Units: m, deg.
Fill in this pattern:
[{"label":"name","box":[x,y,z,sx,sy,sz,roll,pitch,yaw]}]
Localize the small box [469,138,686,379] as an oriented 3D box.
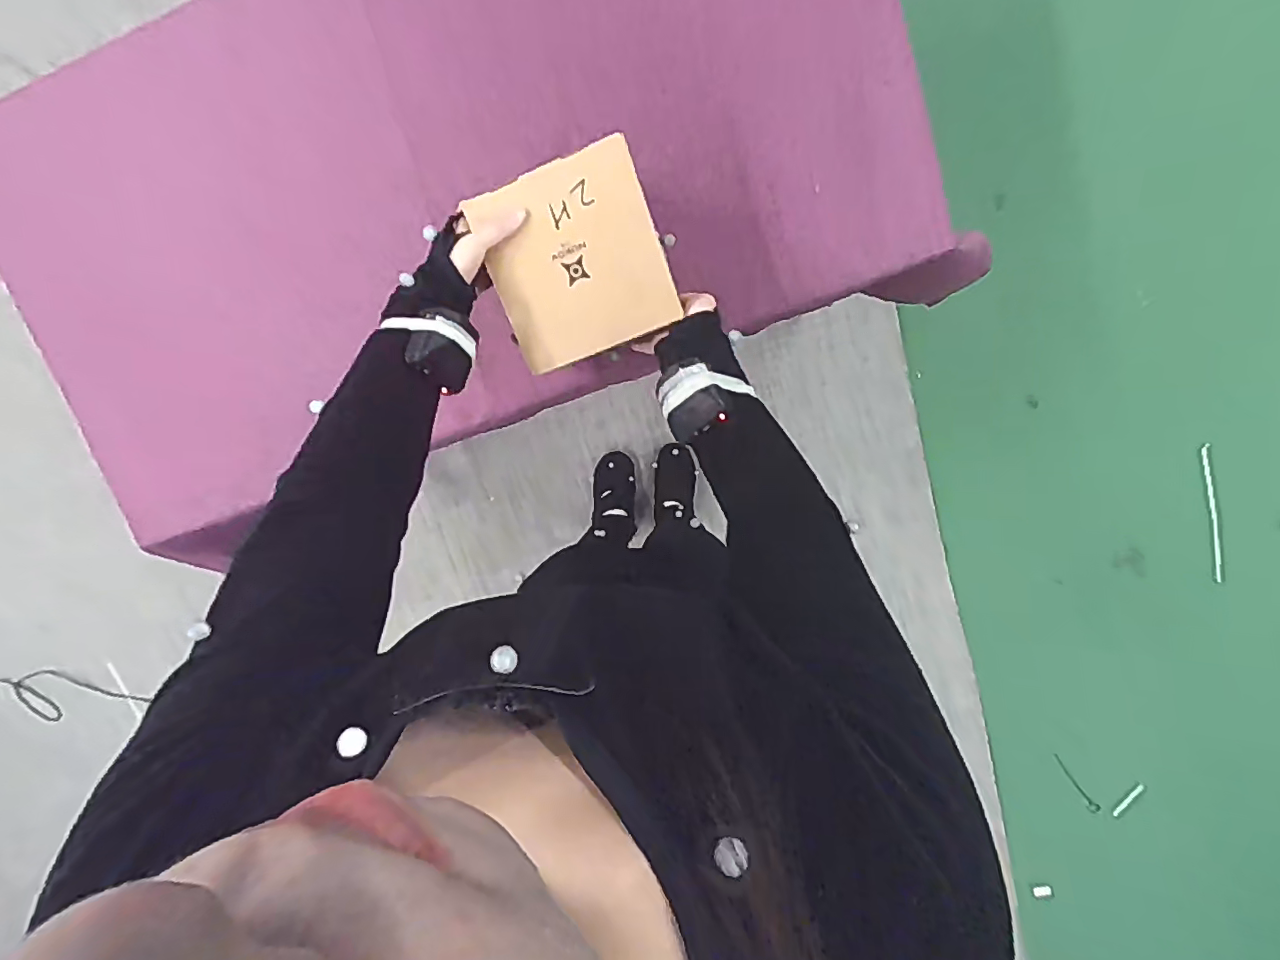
[{"label":"small box","box":[-0.051,-0.229,0.594,0.168,0.176,0.179,-19,104,10]}]
